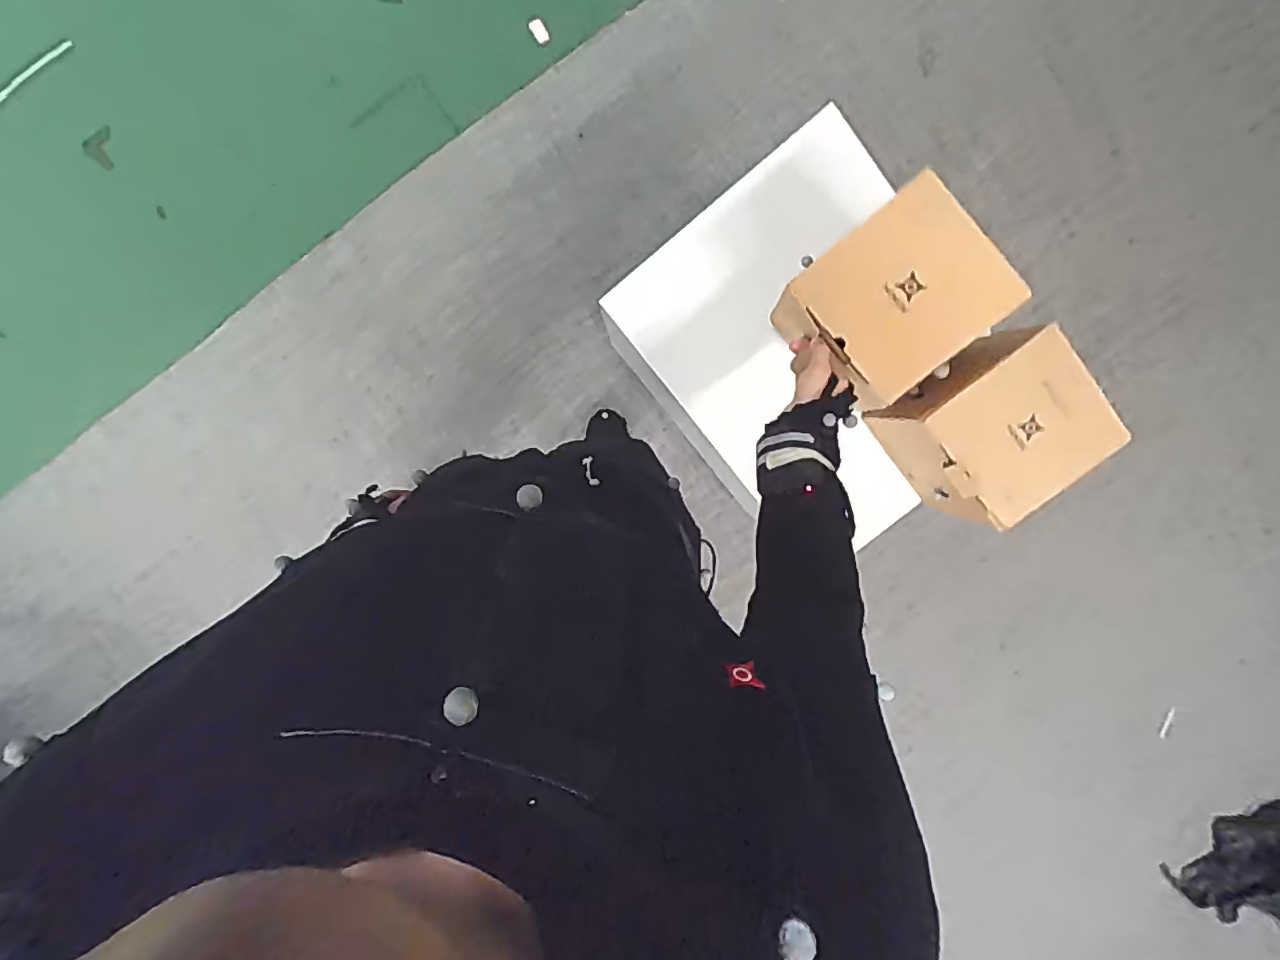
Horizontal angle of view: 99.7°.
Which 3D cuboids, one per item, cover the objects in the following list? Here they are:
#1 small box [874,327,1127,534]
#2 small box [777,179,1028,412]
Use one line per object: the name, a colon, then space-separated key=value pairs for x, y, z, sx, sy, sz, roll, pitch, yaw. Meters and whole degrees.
small box: x=0.426 y=-0.062 z=0.678 sx=0.179 sy=0.176 sz=0.168 roll=-39 pitch=98 yaw=4
small box: x=0.282 y=-0.195 z=0.630 sx=0.179 sy=0.176 sz=0.168 roll=-38 pitch=90 yaw=9
